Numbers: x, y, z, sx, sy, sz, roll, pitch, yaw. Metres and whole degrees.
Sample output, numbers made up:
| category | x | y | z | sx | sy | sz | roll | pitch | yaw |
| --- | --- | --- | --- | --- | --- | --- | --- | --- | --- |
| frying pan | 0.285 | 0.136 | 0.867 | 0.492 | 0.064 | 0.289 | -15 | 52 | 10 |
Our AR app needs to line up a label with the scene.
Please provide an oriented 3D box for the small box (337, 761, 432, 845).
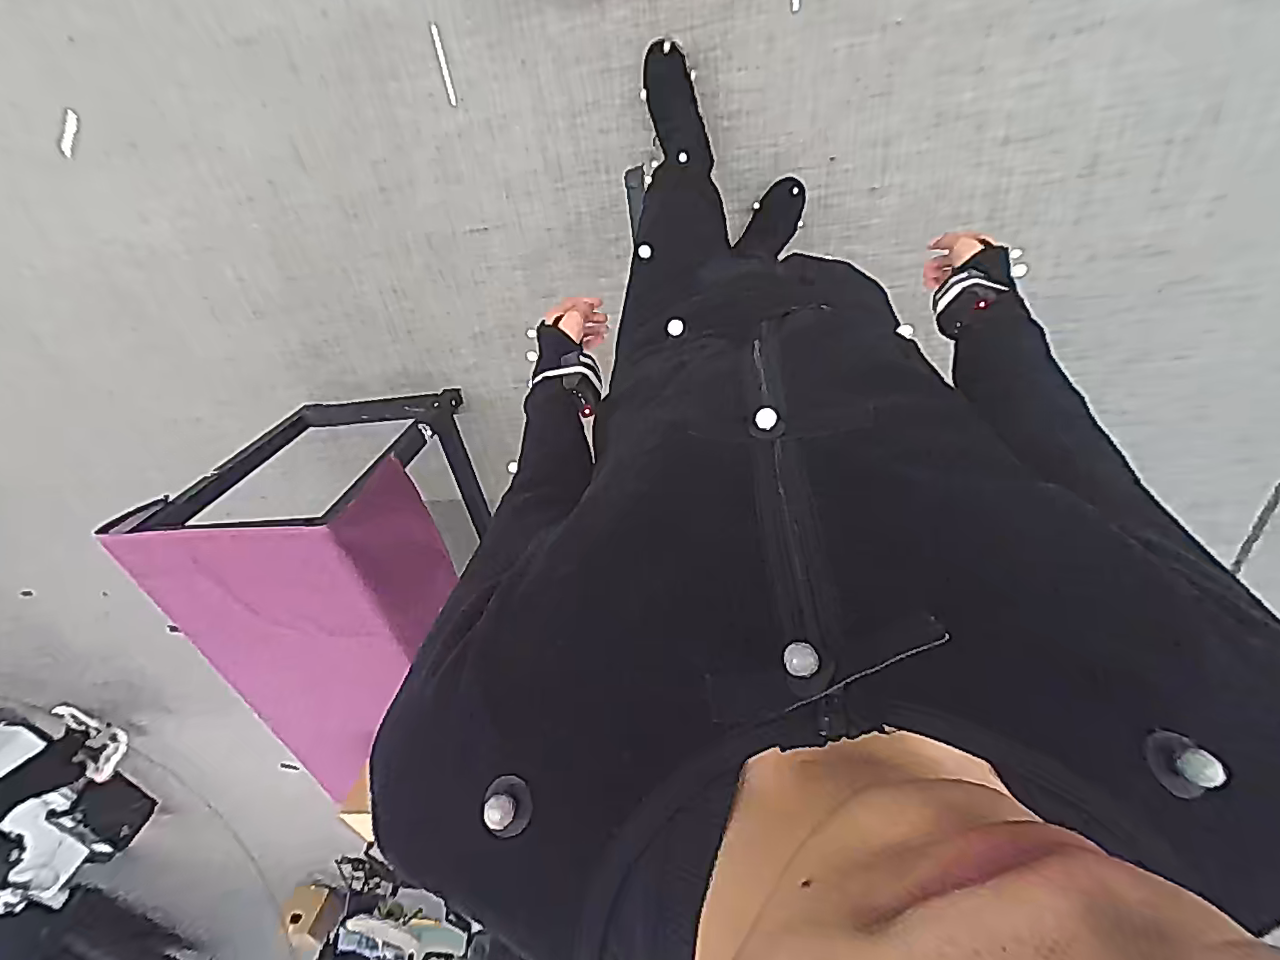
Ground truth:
| category | x | y | z | sx | sy | sz | roll | pitch | yaw |
| --- | --- | --- | --- | --- | --- | --- | --- | --- | --- |
| small box | -0.753 | 0.966 | 1.624 | 0.179 | 0.176 | 0.168 | -11 | 121 | 15 |
